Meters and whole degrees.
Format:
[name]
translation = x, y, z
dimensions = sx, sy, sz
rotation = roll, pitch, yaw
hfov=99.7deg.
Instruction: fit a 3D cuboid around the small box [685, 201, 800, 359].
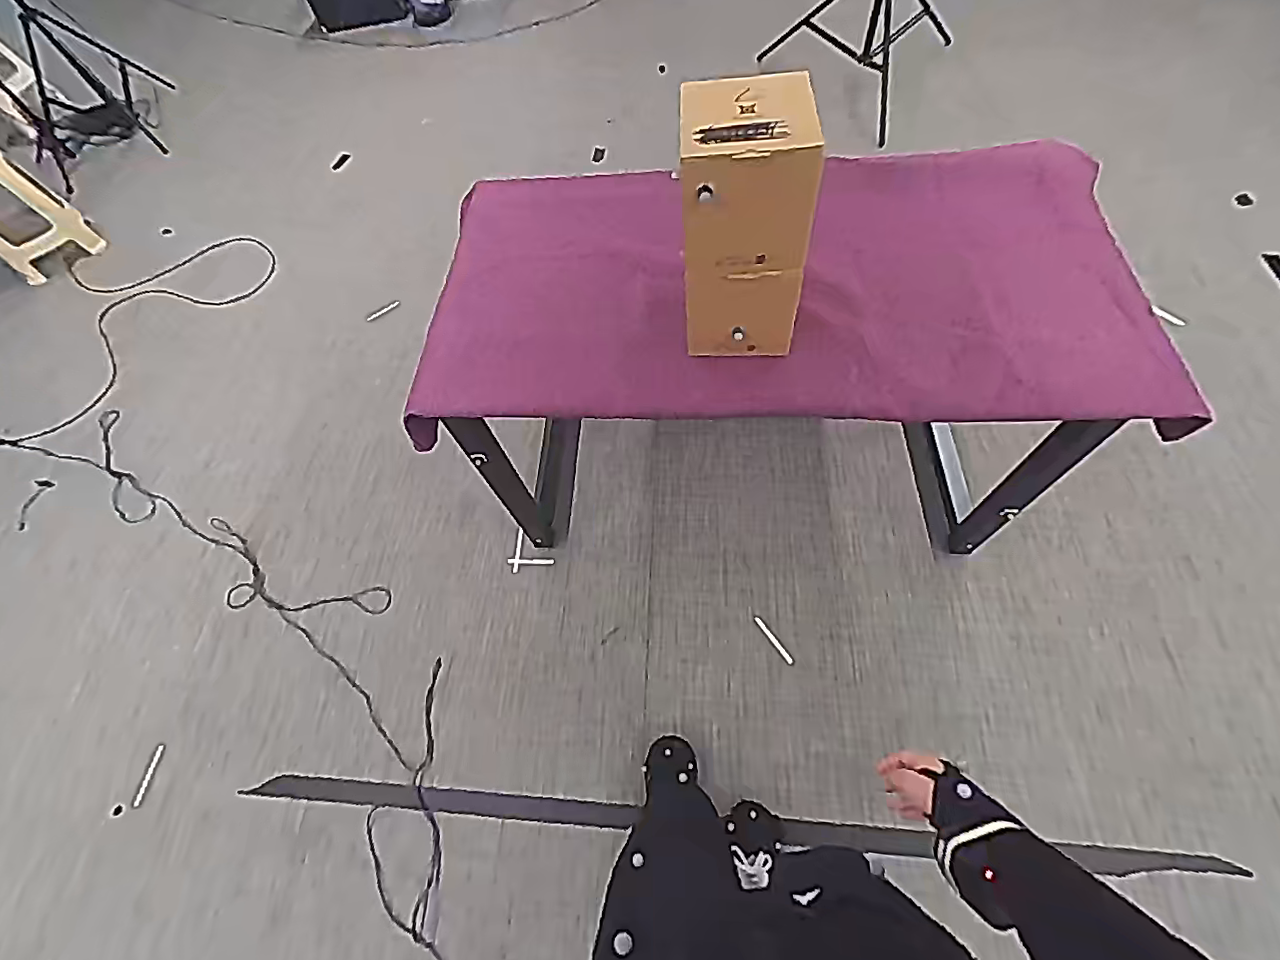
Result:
[small box]
translation = 0.160, -0.320, 0.874
dimensions = 0.168, 0.176, 0.179
rotation = 2, 61, 8
